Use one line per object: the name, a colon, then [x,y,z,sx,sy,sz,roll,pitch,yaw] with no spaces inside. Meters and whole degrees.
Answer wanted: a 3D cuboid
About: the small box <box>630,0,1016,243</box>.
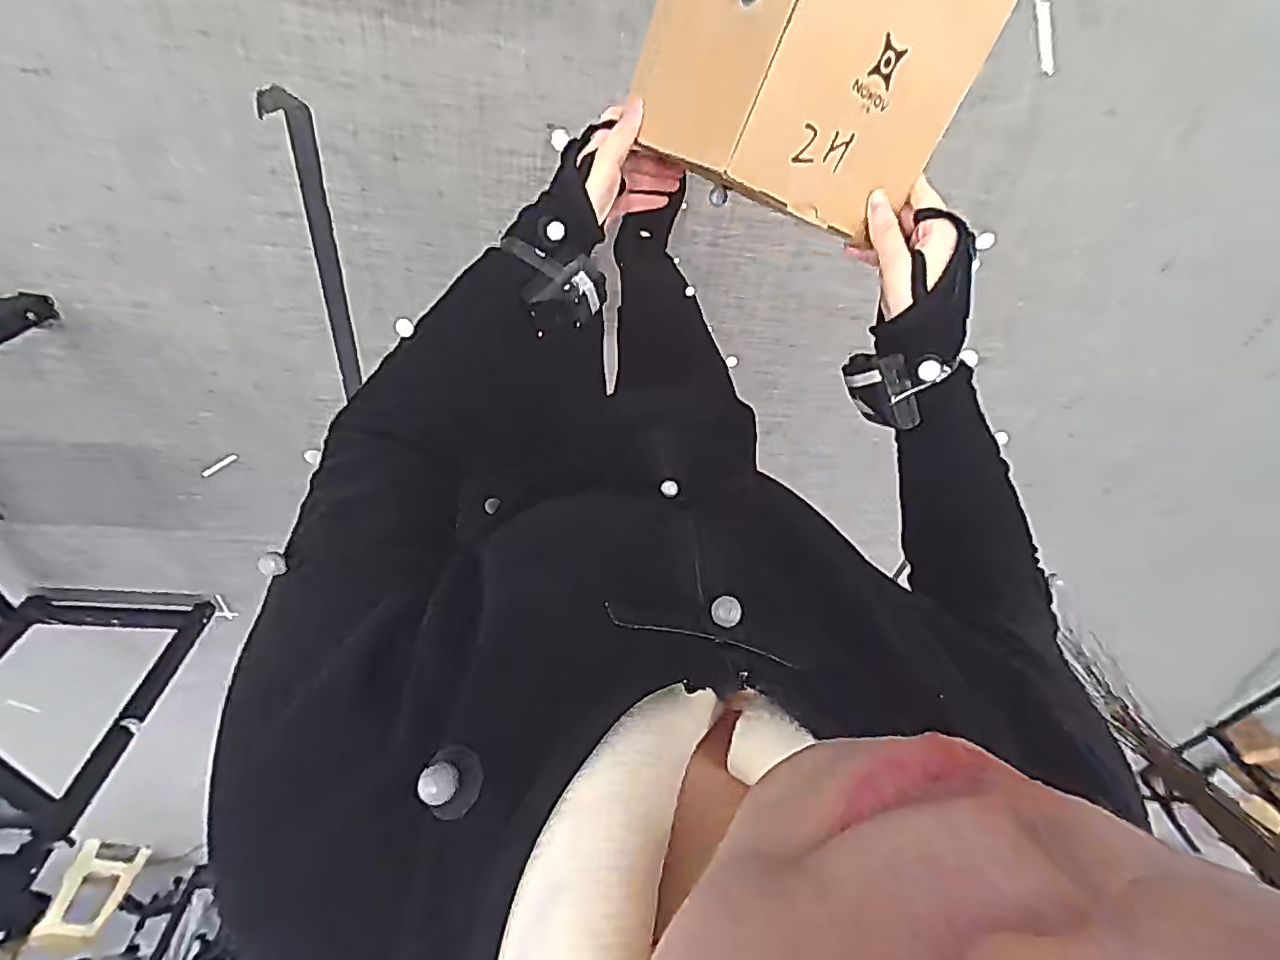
small box: [0.115,-0.304,0.390,0.168,0.176,0.179,4,124,-34]
